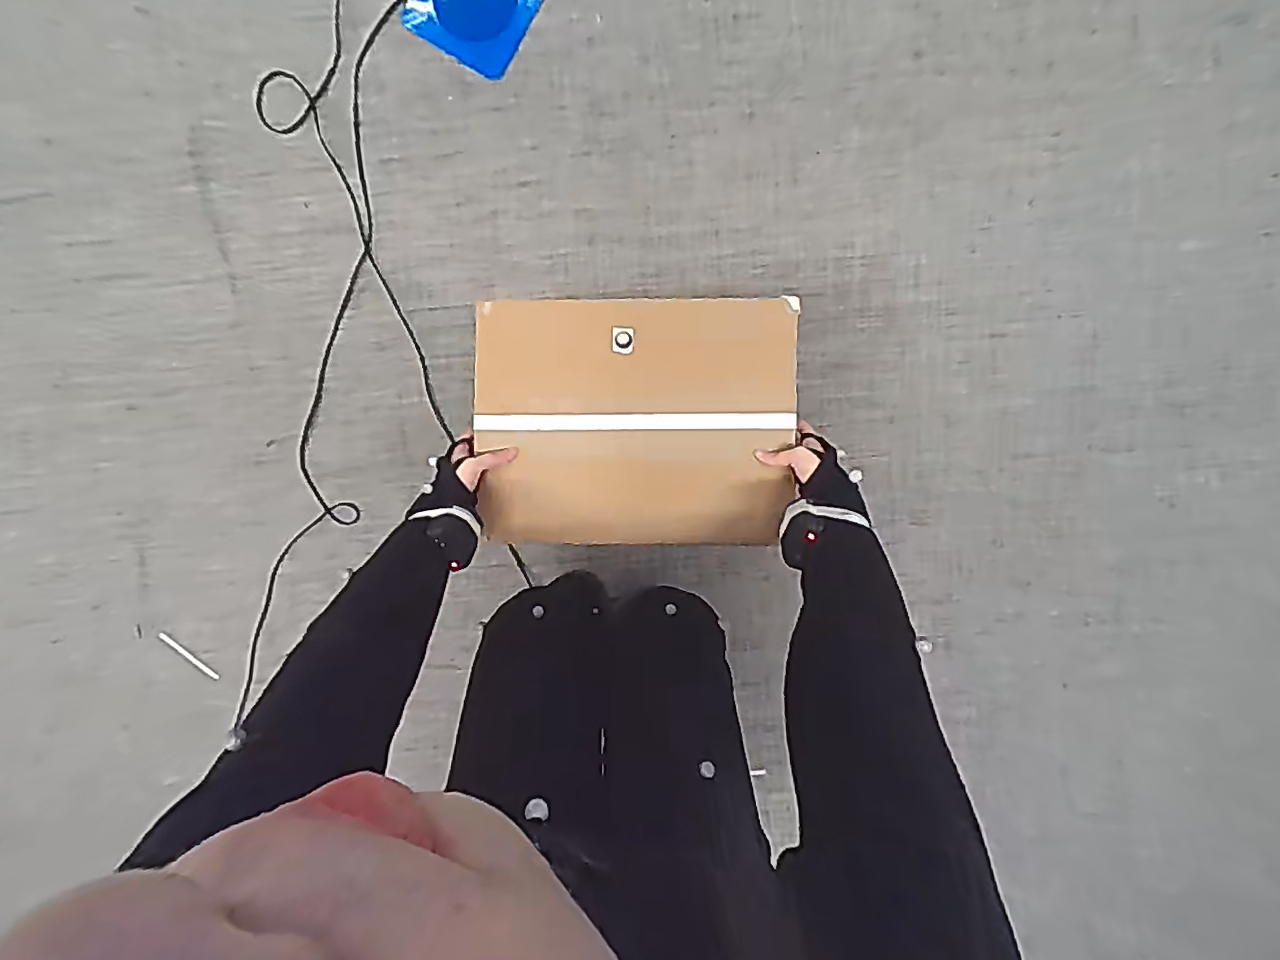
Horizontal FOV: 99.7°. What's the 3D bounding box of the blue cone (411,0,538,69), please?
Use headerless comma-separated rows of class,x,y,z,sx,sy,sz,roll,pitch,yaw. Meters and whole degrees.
blue cone,-0.274,-0.798,0.739,0.192,0.380,0.193,29,94,-2
